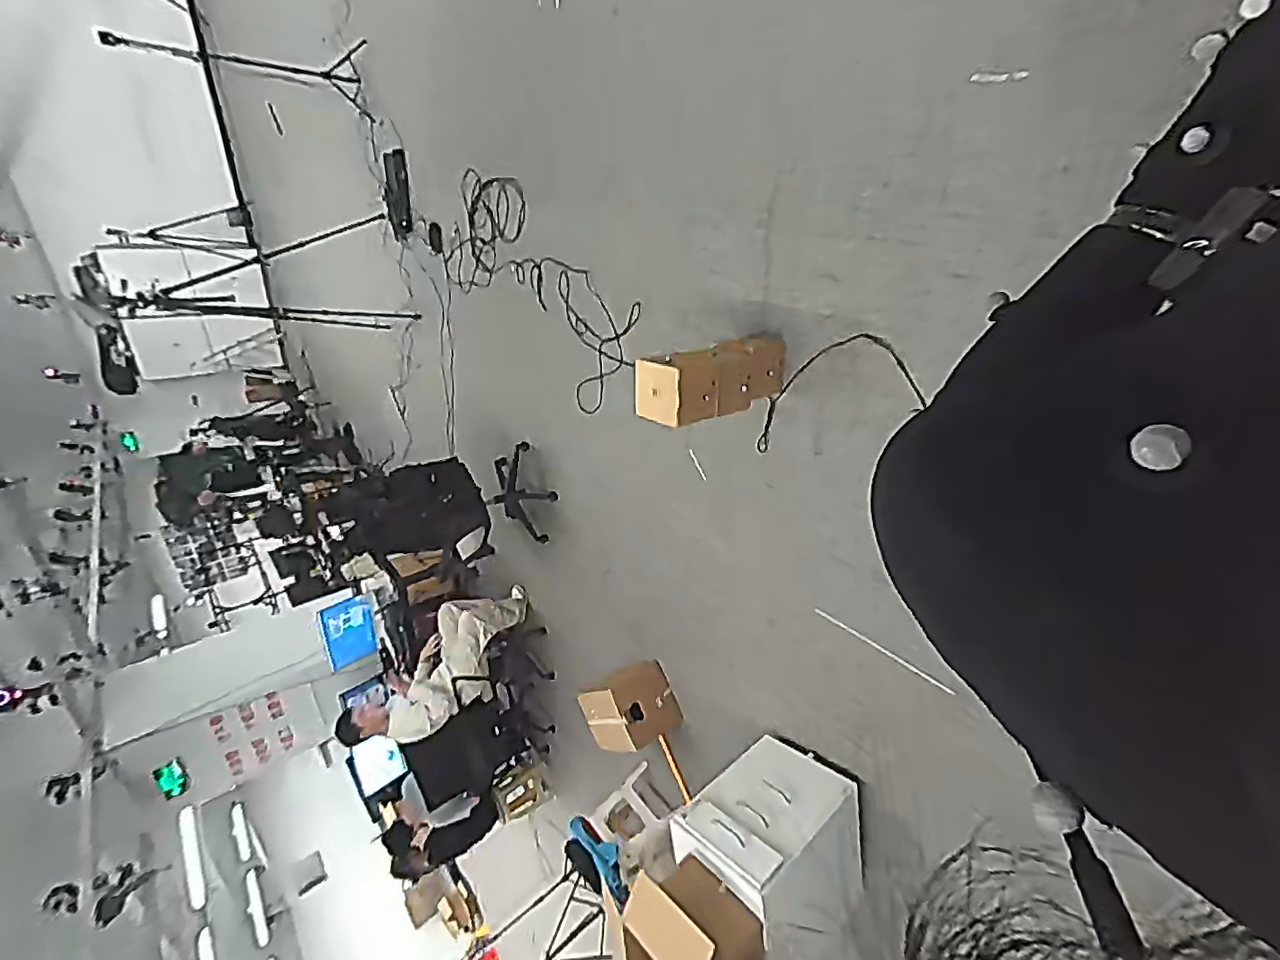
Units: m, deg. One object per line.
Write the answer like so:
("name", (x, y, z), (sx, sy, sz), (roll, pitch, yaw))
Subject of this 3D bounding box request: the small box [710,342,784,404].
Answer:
("small box", (0.347, -0.354, 1.757), (0.179, 0.176, 0.168), (22, 121, 45))

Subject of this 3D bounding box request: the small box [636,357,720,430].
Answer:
("small box", (0.106, -0.256, 1.559), (0.179, 0.176, 0.168), (24, 123, 43))

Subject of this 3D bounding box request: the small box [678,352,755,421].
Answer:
("small box", (0.225, -0.294, 1.663), (0.179, 0.176, 0.168), (25, 124, 43))
